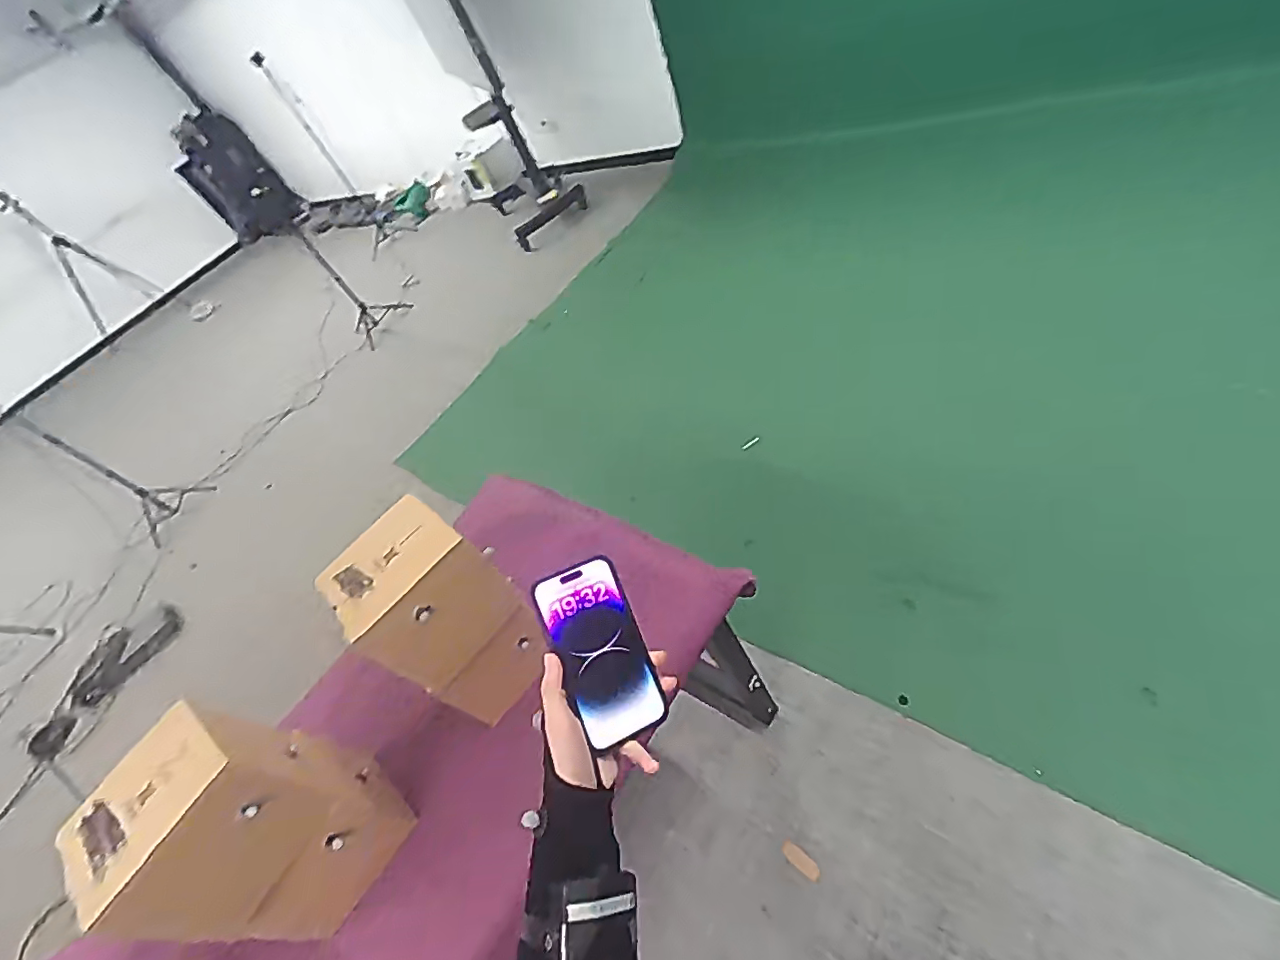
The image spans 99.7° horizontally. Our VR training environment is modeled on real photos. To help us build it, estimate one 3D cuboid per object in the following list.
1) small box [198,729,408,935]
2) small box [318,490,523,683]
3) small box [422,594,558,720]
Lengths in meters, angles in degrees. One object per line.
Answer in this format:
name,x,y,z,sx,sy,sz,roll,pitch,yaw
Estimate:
small box,-0.466,0.500,0.775,0.168,0.176,0.179,21,64,39
small box,-0.302,0.151,0.763,0.168,0.176,0.179,28,68,41
small box,-0.258,0.254,0.885,0.168,0.176,0.179,29,69,41
